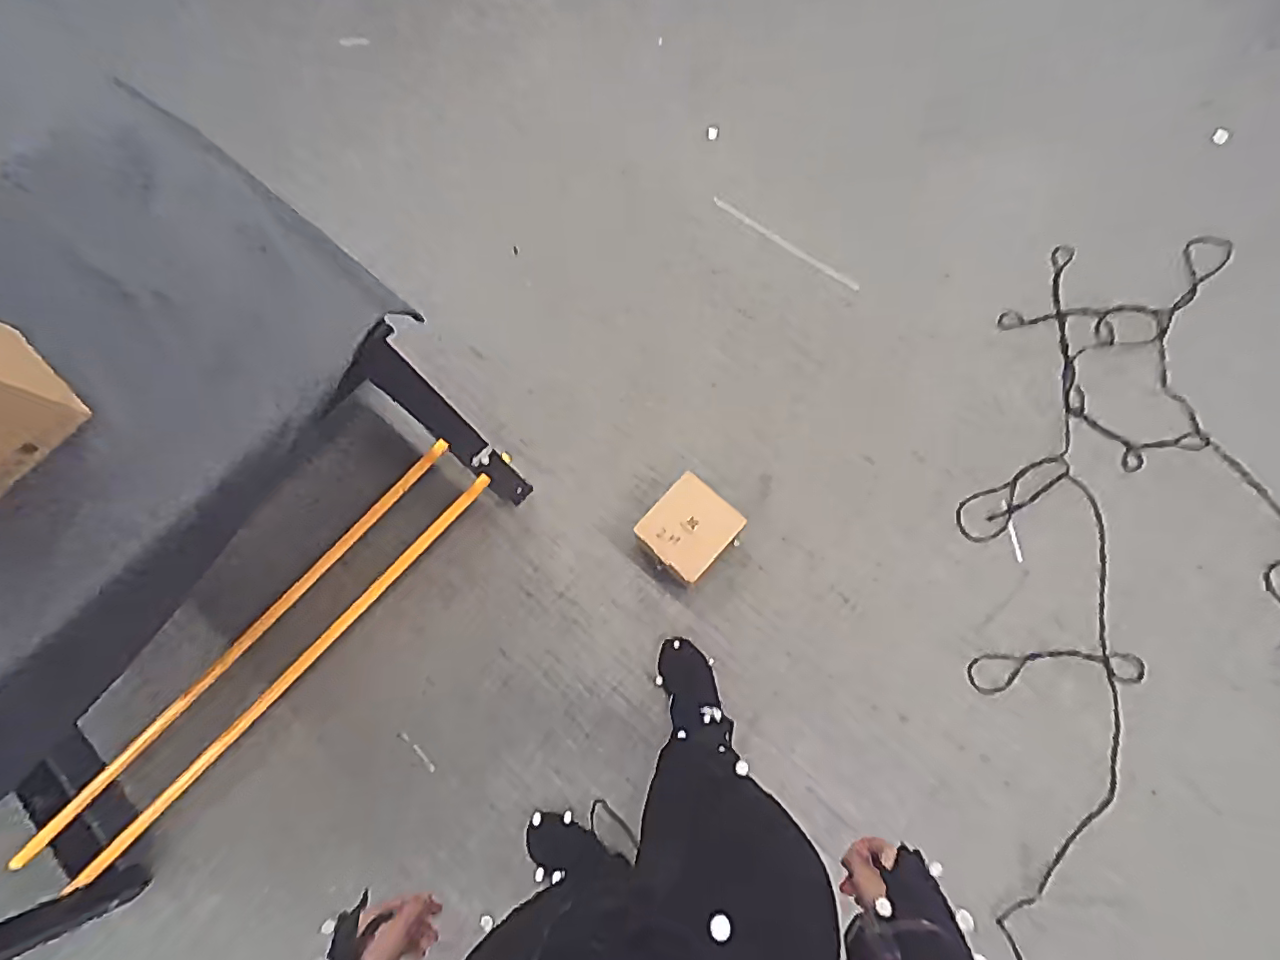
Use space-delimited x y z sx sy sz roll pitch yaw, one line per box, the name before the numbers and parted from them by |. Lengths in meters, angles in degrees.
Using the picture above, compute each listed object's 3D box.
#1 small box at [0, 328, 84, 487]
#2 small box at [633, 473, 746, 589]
small box | -0.724 -0.087 0.527 0.179 0.176 0.168 39 79 14
small box | 0.103 0.117 1.178 0.168 0.176 0.179 41 80 14
